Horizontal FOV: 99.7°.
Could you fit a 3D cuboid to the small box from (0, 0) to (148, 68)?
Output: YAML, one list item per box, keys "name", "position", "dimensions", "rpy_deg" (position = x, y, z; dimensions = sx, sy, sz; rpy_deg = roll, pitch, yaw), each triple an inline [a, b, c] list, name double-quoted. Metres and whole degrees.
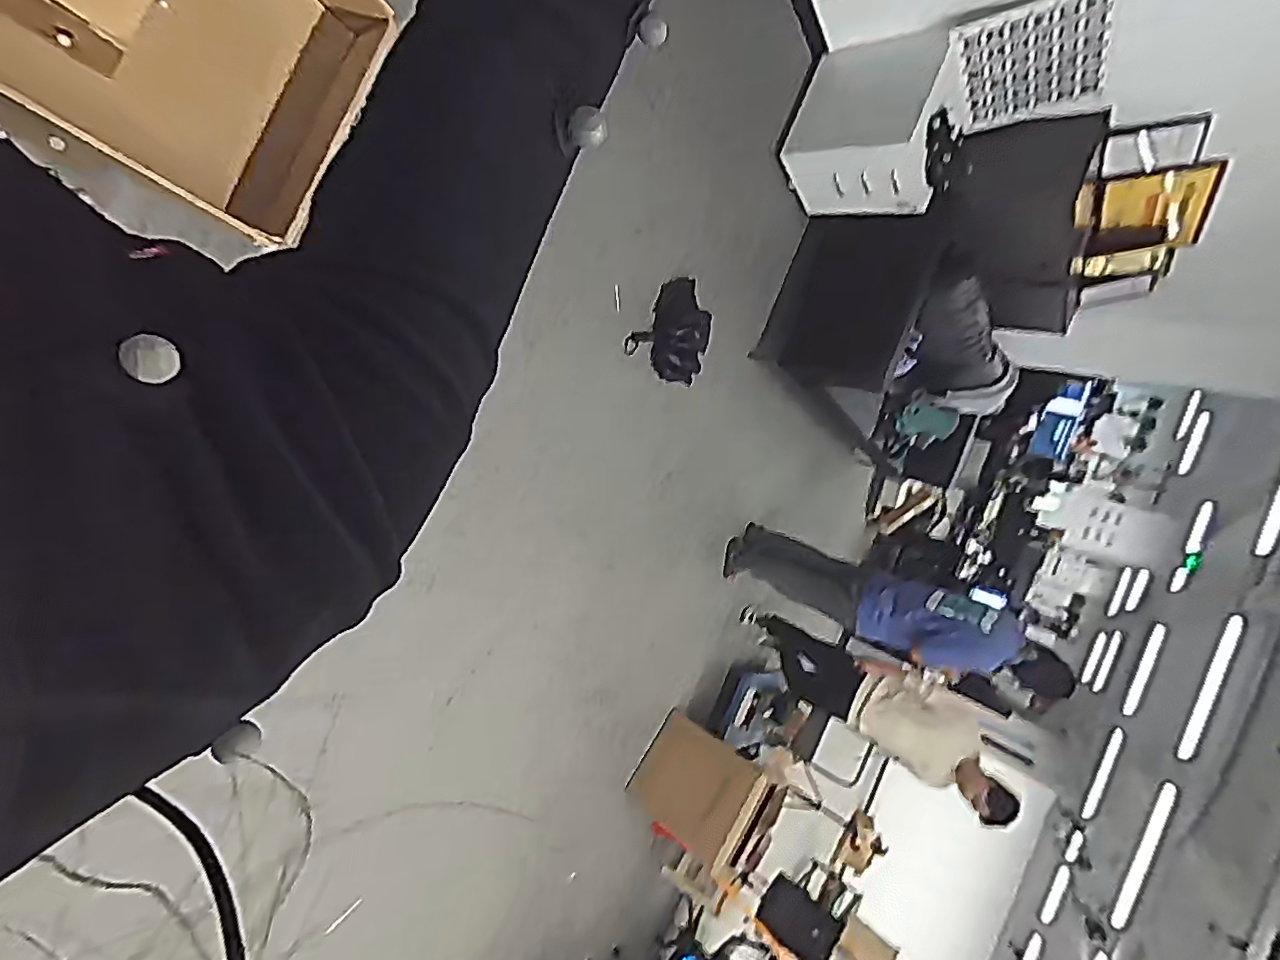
- name: "small box"
  position: [-0.641, -0.597, 0.585]
  dimensions: [0.168, 0.176, 0.179]
  rpy_deg: [23, 87, -53]
